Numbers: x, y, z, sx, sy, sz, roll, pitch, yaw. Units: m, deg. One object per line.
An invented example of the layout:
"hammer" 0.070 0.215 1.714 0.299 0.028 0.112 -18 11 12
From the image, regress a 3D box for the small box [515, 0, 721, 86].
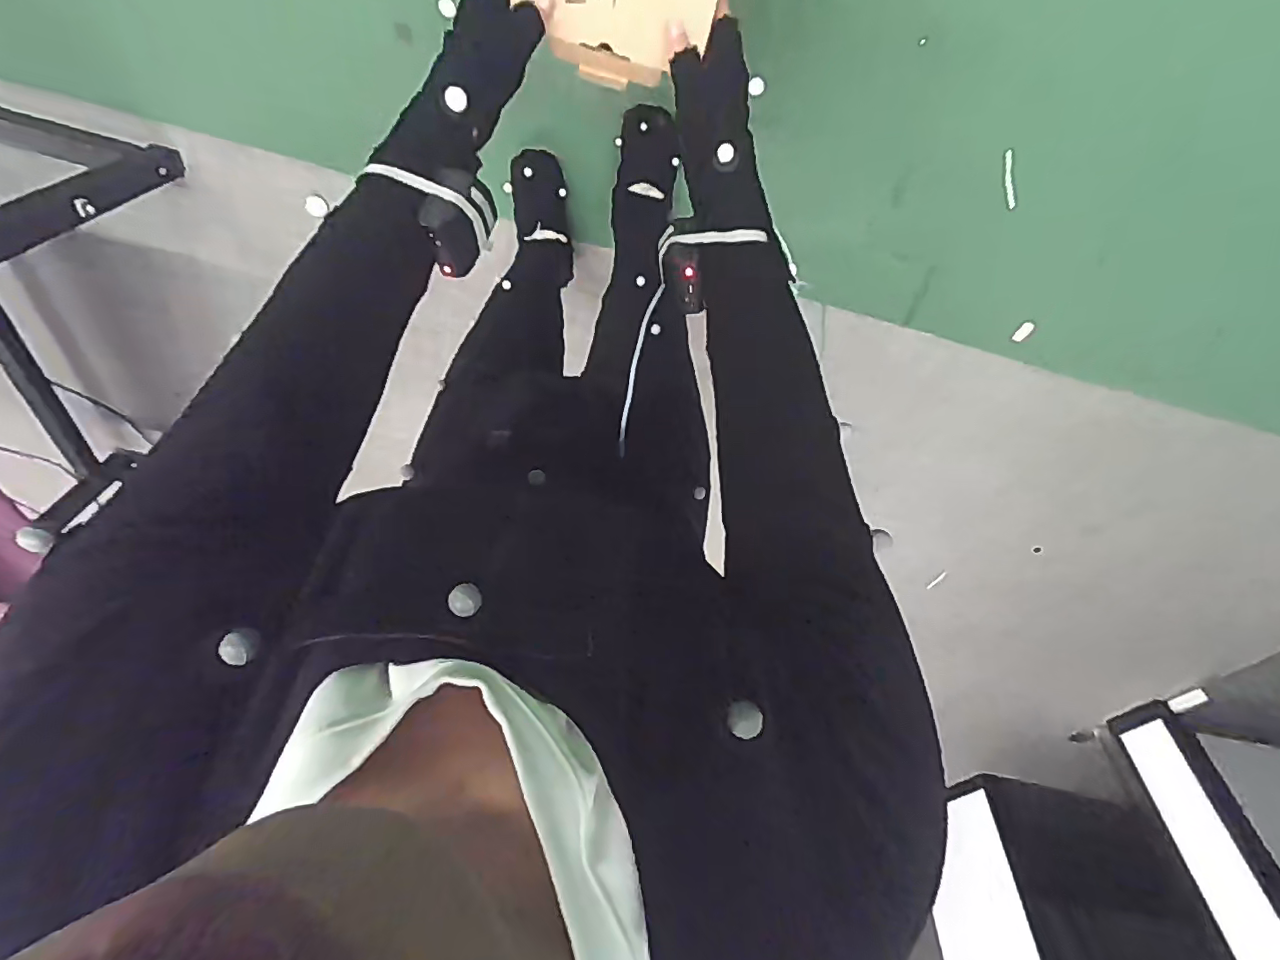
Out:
"small box" -0.002 -0.481 0.466 0.168 0.176 0.179 13 134 -7
